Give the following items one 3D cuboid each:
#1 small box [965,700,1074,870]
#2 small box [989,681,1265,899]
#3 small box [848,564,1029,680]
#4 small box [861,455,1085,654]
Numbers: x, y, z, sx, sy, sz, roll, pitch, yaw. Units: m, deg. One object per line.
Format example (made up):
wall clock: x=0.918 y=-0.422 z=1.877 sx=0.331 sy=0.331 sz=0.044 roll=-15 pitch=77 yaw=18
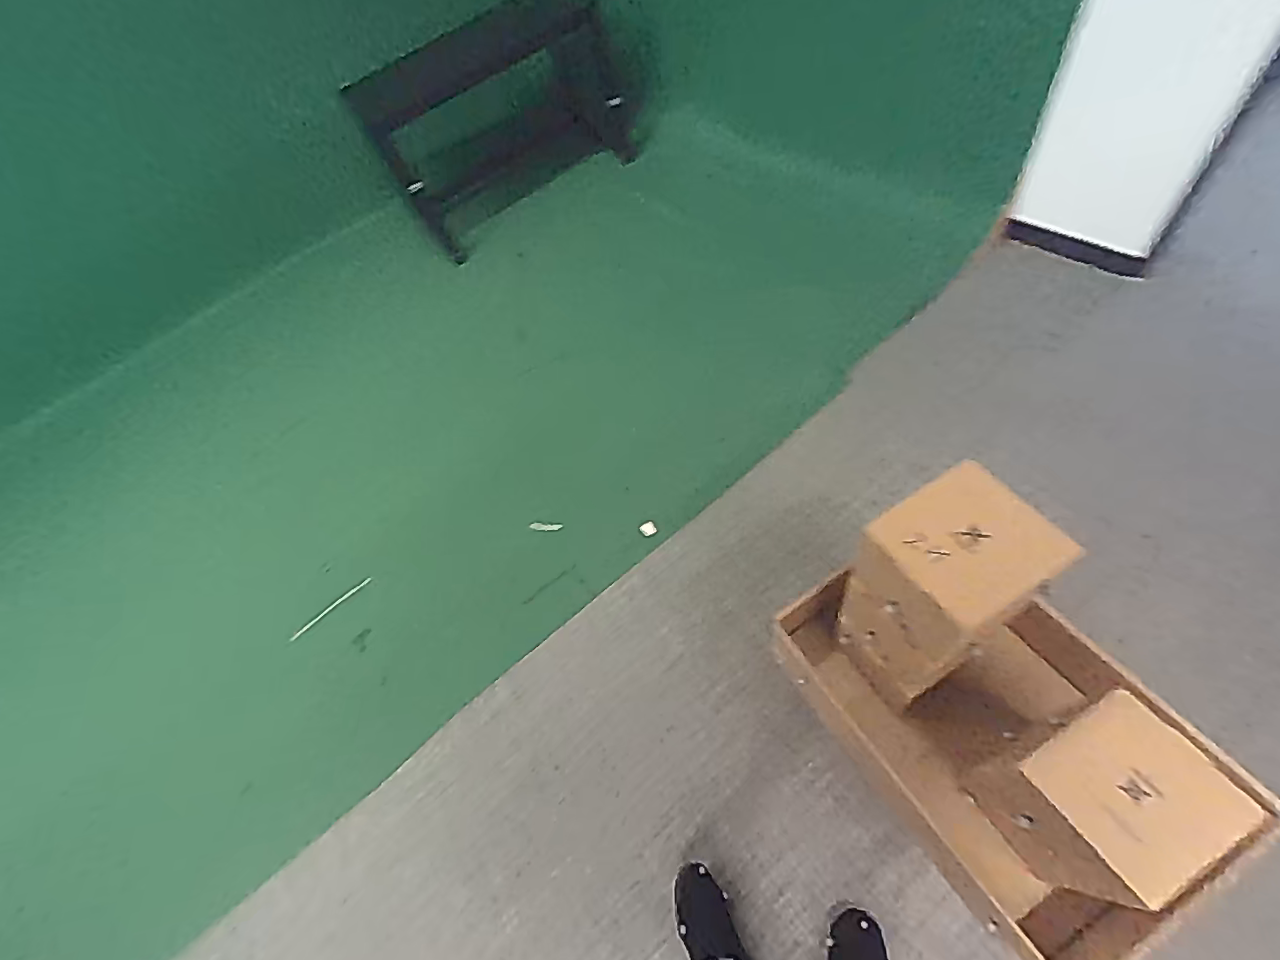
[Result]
small box: x=0.638 y=0.472 z=0.833 sx=0.179 sy=0.176 sz=0.168 roll=-31 pitch=56 yaw=-5
small box: x=0.597 y=0.392 z=0.697 sx=0.179 sy=0.176 sz=0.168 roll=-32 pitch=56 yaw=-5
small box: x=0.457 y=0.192 z=0.863 sx=0.179 sy=0.176 sz=0.168 roll=-32 pitch=57 yaw=-5
small box: x=0.423 y=0.104 z=0.726 sx=0.179 sy=0.176 sz=0.168 roll=-31 pitch=56 yaw=-4
